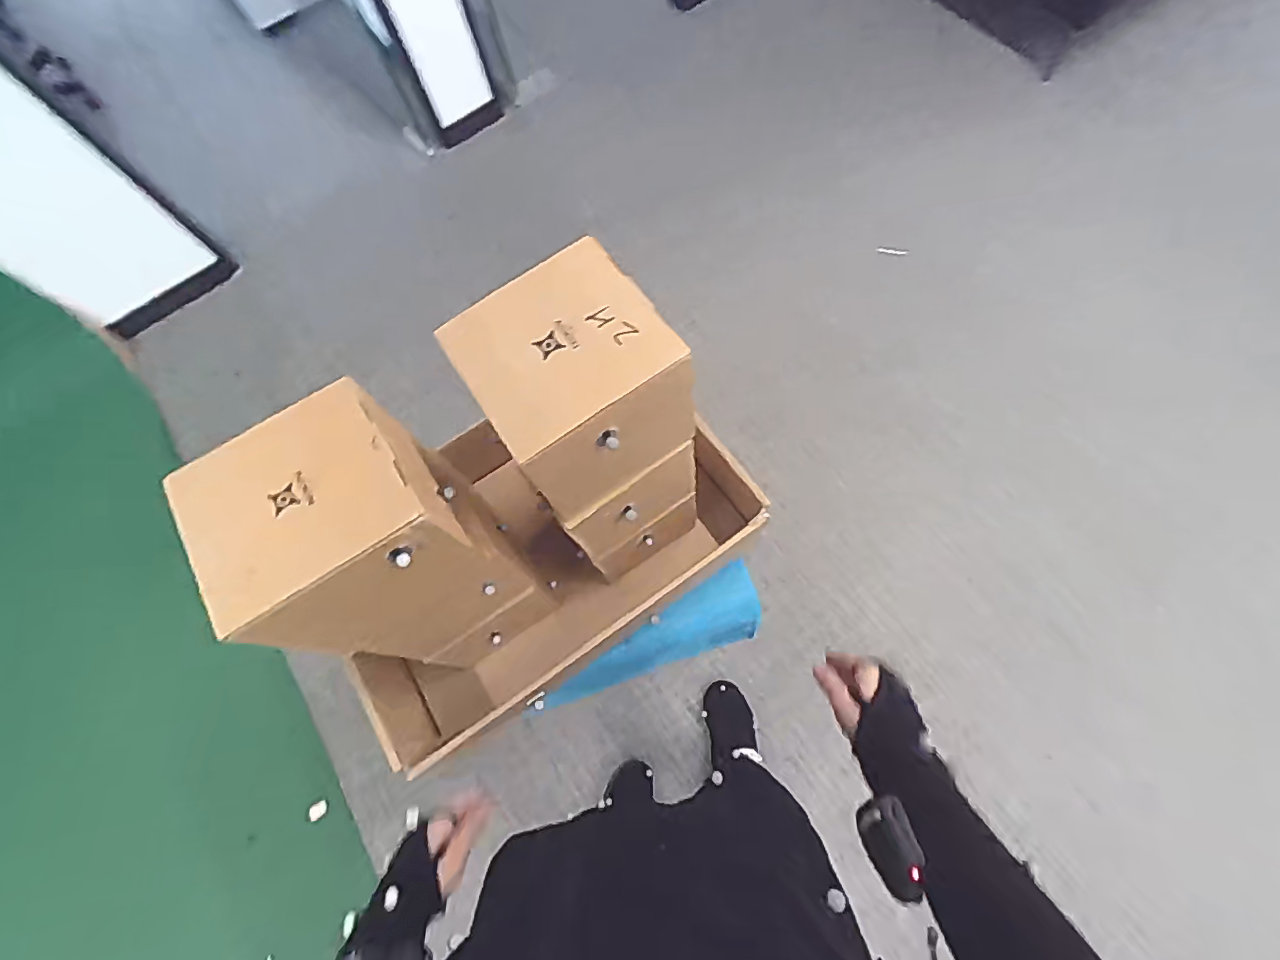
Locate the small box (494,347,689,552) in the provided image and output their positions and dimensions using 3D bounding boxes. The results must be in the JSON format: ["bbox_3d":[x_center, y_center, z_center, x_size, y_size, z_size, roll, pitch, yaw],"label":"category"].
[{"bbox_3d":[-0.050,-0.028,0.700,0.179,0.176,0.168,-36,71,-5],"label":"small box"}]
